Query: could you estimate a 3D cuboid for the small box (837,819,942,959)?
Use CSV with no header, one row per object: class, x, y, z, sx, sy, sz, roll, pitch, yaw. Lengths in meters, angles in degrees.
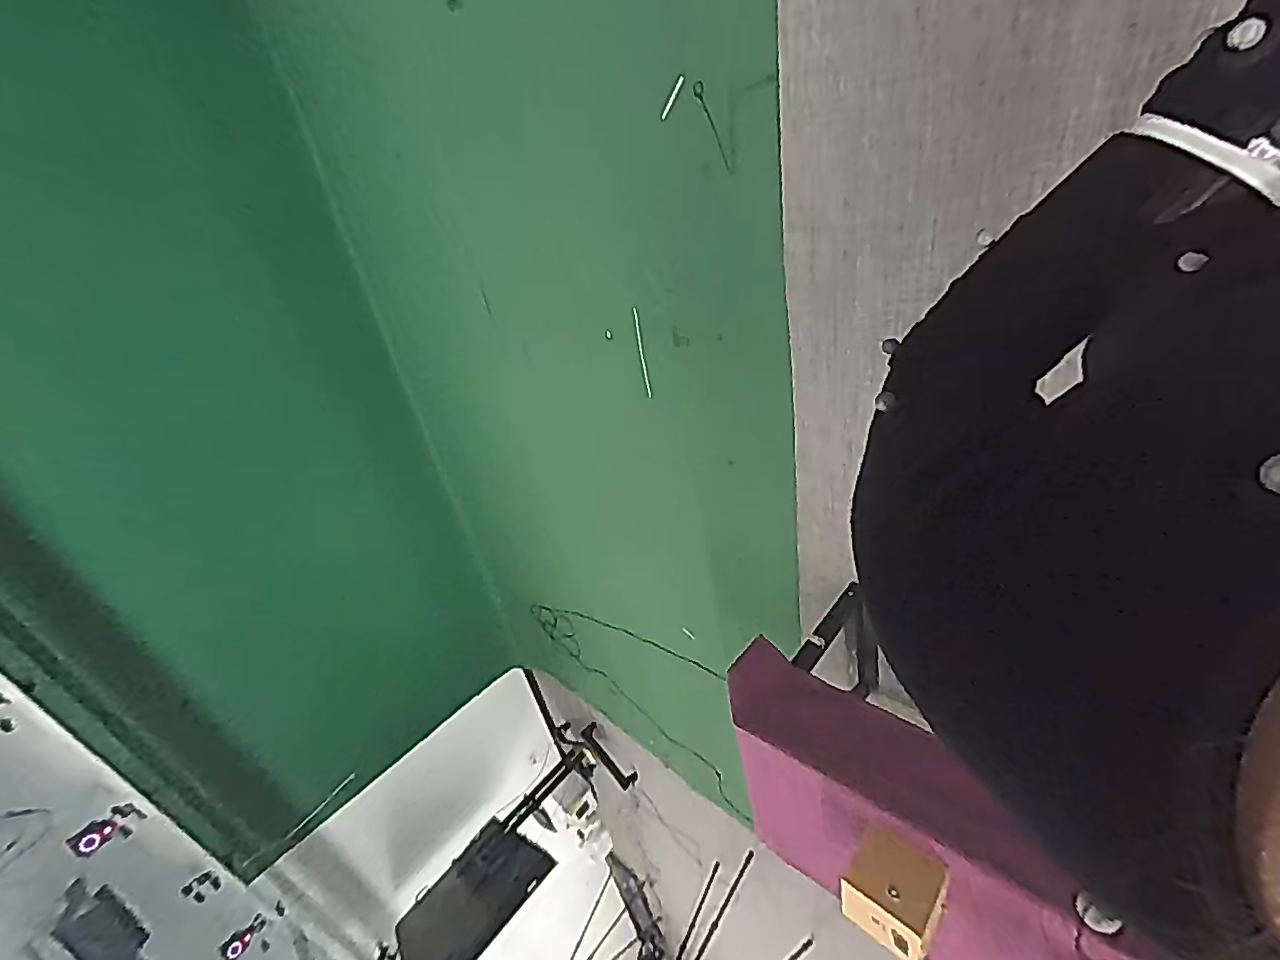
small box,0.577,0.939,1.251,0.179,0.176,0.168,17,131,42
